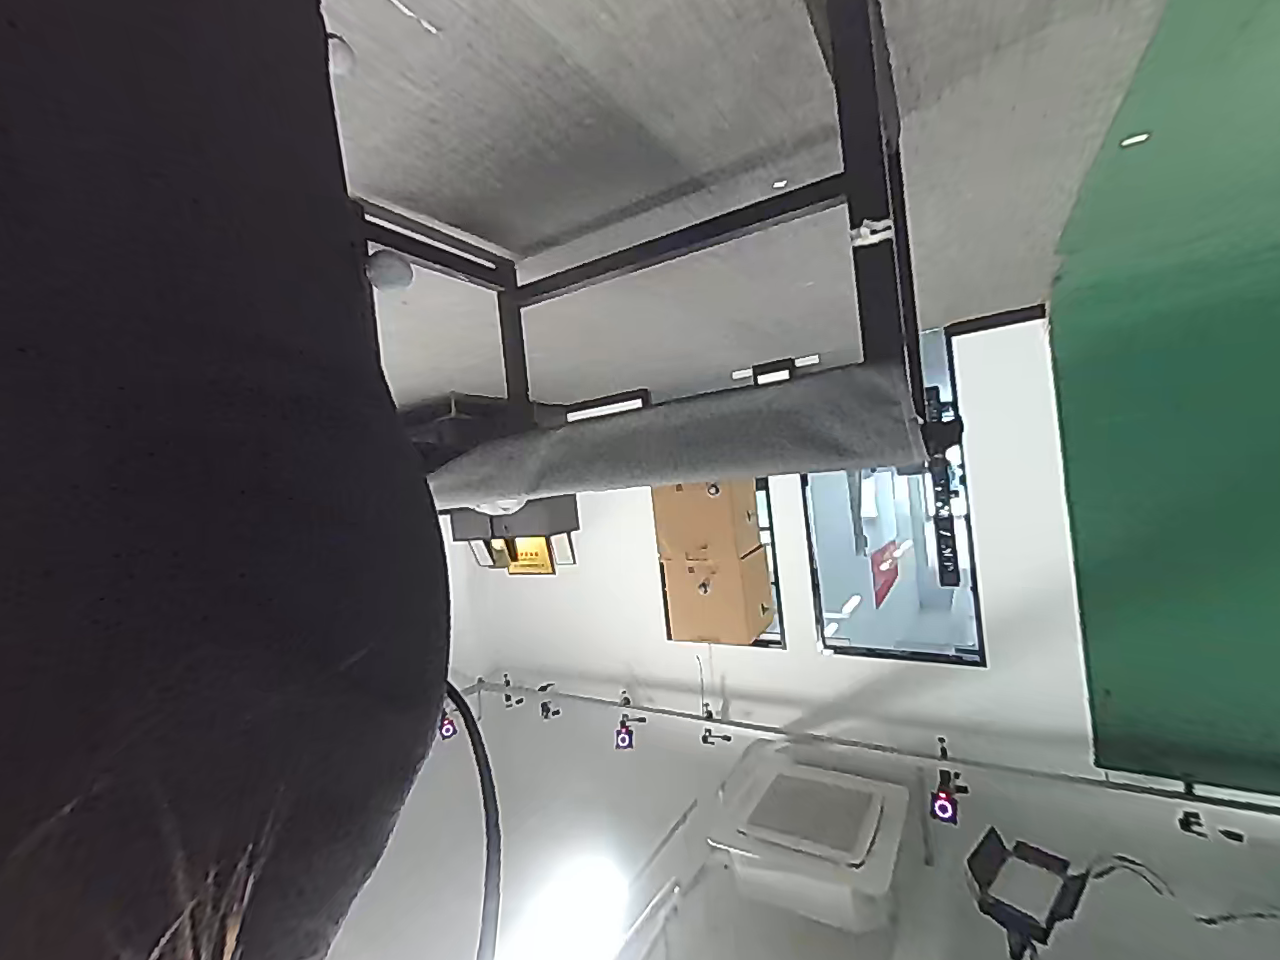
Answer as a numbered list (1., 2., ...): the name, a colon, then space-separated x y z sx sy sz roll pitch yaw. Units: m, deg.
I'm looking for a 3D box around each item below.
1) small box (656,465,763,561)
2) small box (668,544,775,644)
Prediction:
1. small box: 0.144 0.065 1.114 0.168 0.176 0.179 -6 -179 28
2. small box: 0.172 0.227 1.128 0.168 0.176 0.179 -7 180 30
